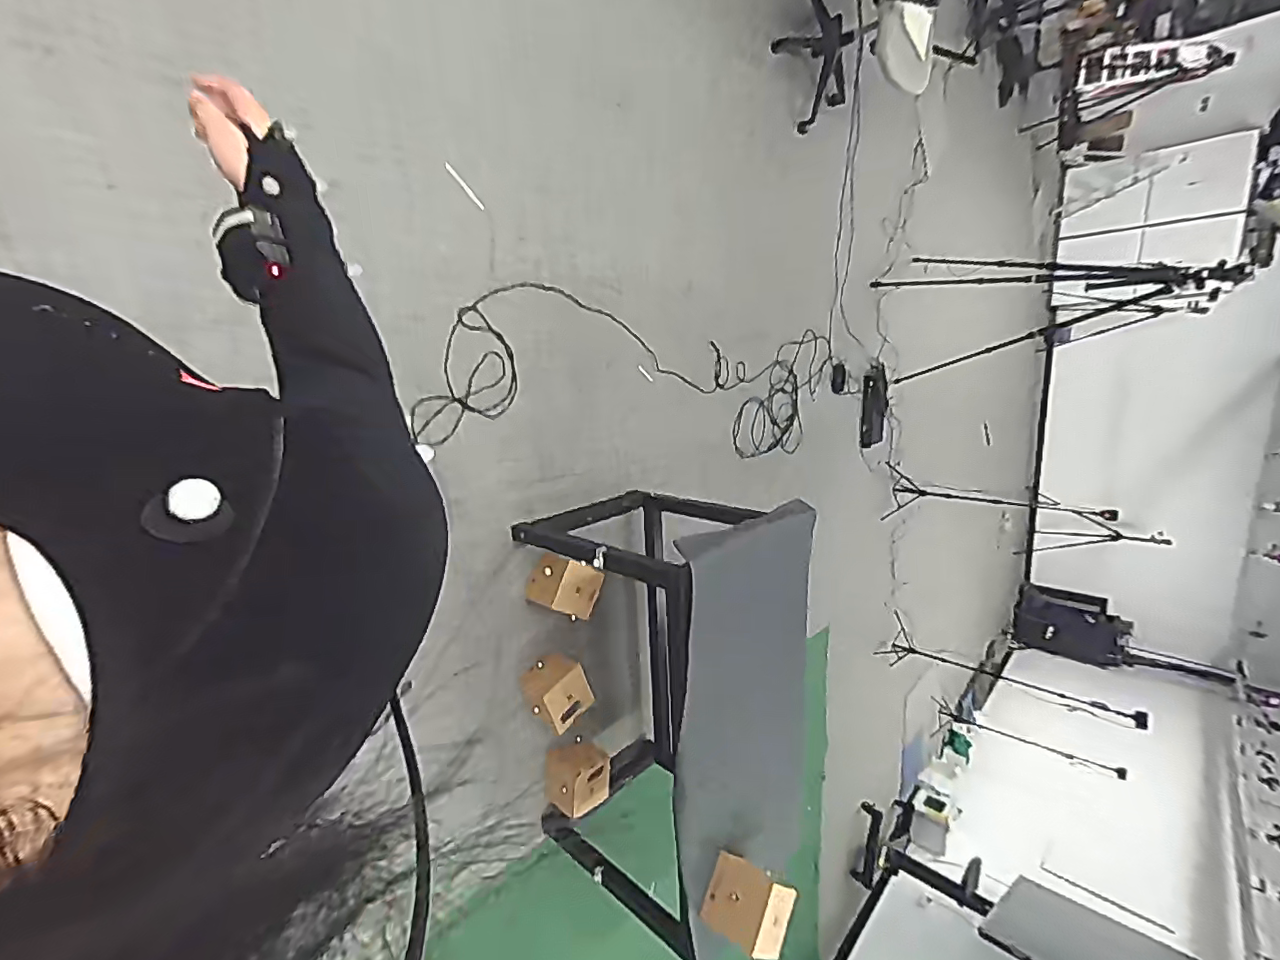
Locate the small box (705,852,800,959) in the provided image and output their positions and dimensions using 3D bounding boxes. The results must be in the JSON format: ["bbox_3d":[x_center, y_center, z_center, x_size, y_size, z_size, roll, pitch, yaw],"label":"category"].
[{"bbox_3d":[0.302,1.140,1.457,0.179,0.176,0.168,48,59,-39],"label":"small box"}]

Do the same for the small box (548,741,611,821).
[{"bbox_3d":[-0.221,1.081,1.966,0.168,0.176,0.179,-7,102,-45],"label":"small box"}]

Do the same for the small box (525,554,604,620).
[{"bbox_3d":[-0.258,0.358,1.831,0.179,0.176,0.168,32,72,-44],"label":"small box"}]
